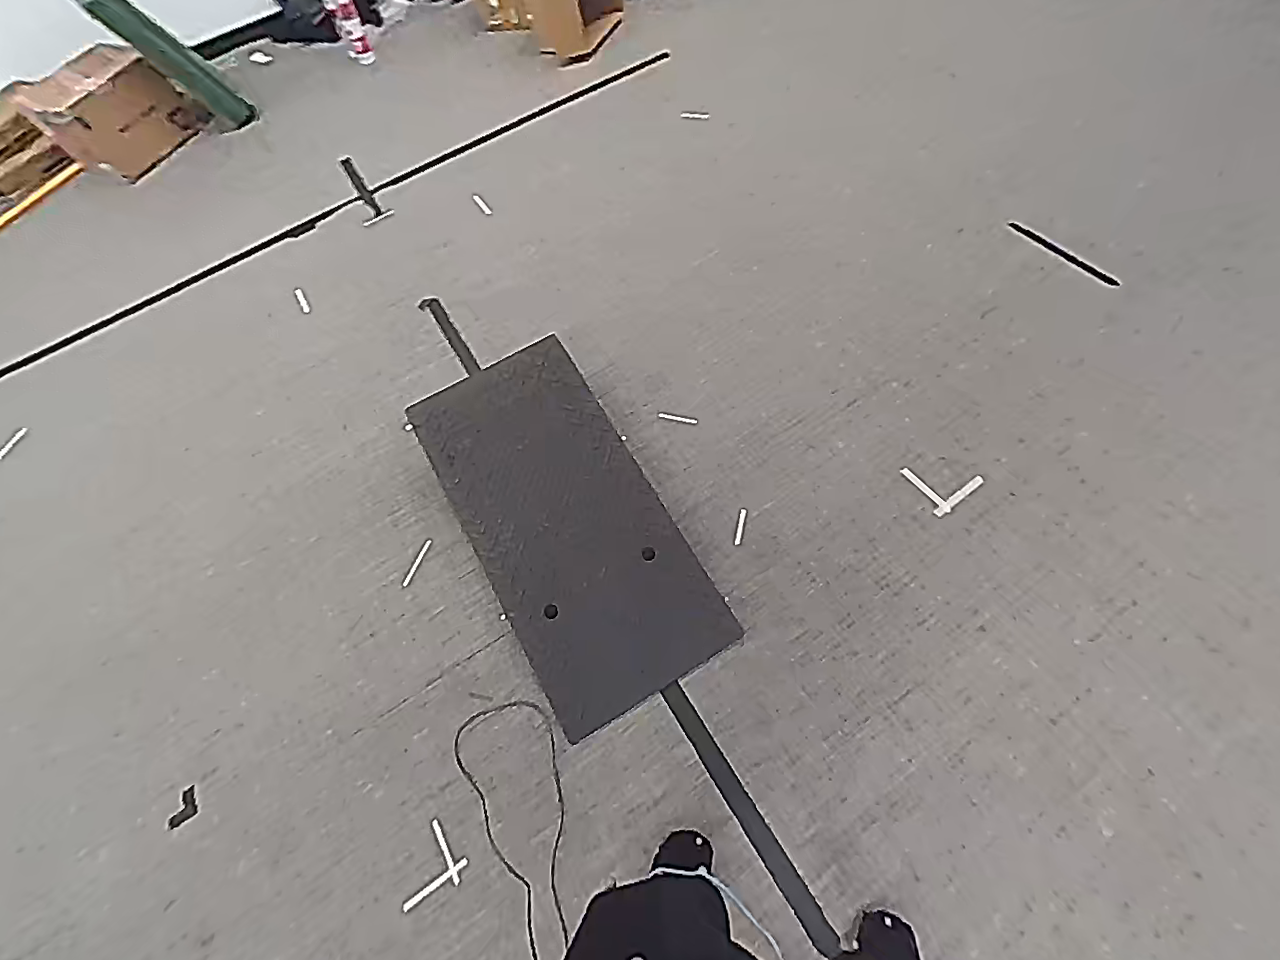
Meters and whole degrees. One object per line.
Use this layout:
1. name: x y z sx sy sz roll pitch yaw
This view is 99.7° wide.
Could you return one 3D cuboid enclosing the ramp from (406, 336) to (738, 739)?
1. ramp: -0.207 0.090 1.441 0.509 0.206 0.991 -31 64 -10
